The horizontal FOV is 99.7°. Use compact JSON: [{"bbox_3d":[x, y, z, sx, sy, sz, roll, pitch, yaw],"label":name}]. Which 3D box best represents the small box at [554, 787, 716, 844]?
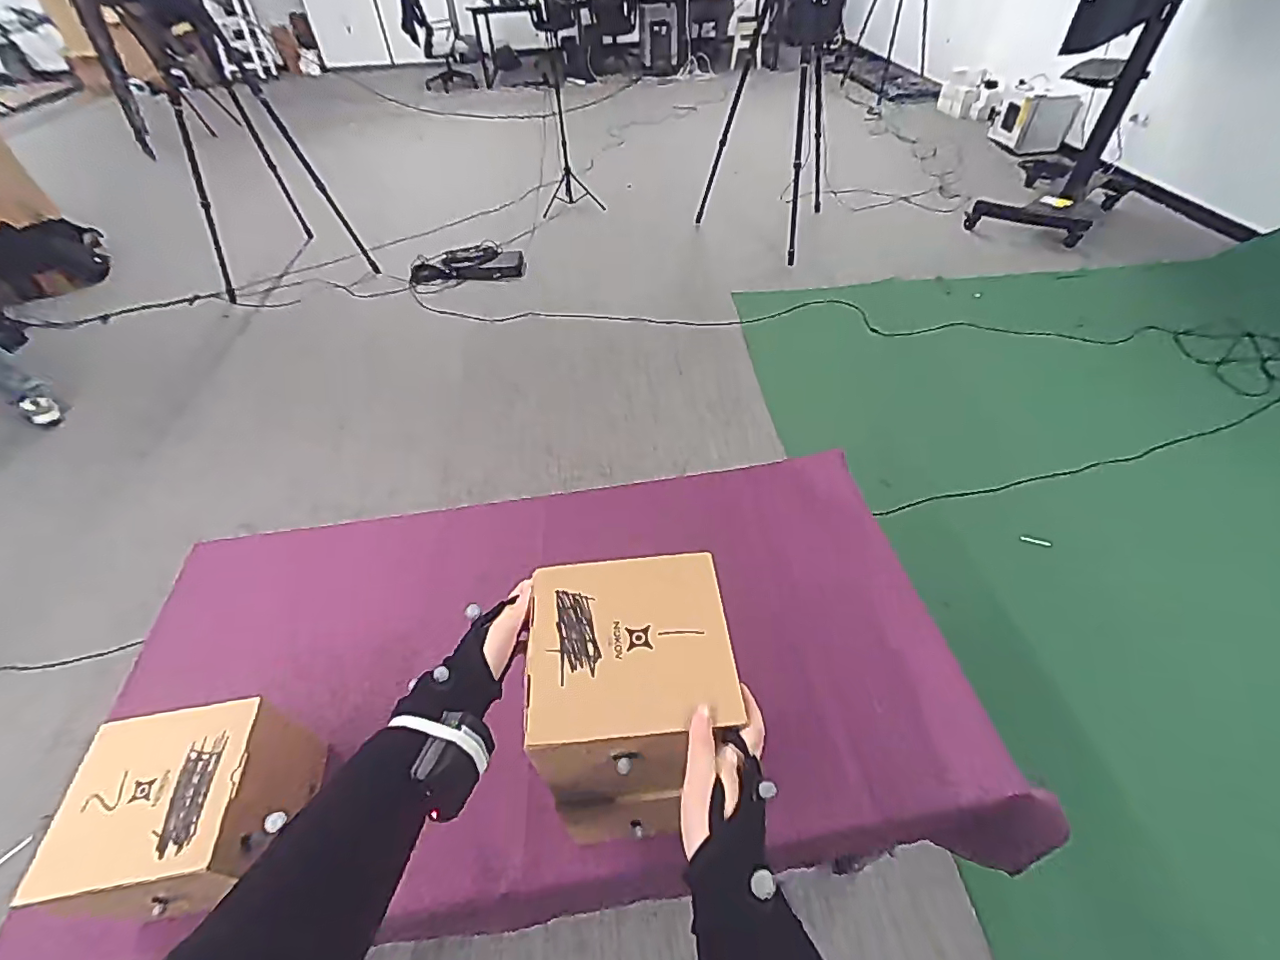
[{"bbox_3d":[-0.007,0.317,0.646,0.168,0.176,0.179,-5,46,-3],"label":"small box"}]

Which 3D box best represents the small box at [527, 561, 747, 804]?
[{"bbox_3d":[-0.005,0.200,0.529,0.179,0.176,0.168,-4,47,-3],"label":"small box"}]
